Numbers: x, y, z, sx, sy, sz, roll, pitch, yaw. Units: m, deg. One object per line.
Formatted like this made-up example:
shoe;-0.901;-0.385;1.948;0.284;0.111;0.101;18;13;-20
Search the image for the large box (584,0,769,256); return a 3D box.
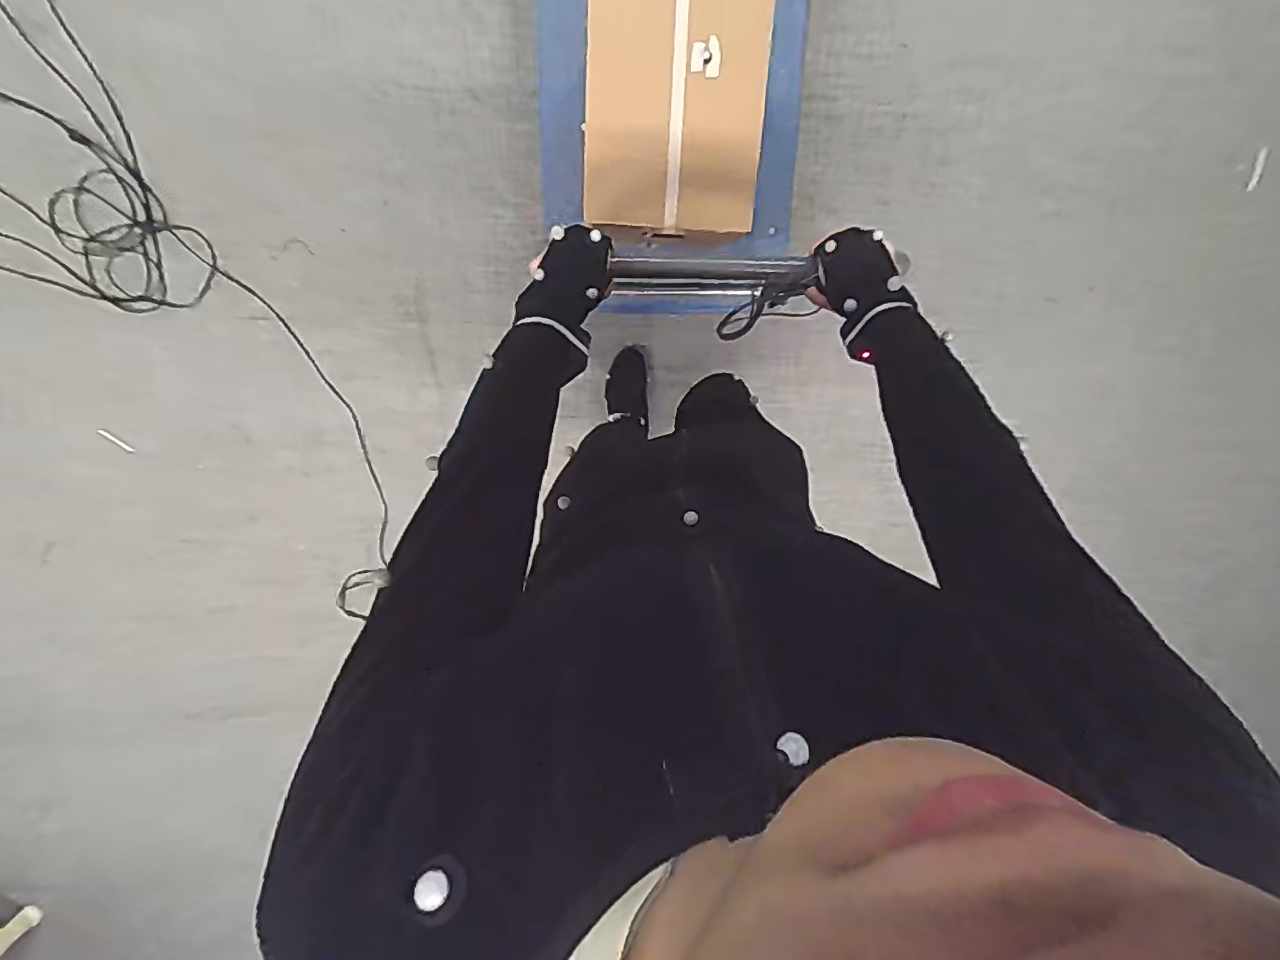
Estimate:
large box;0.054;-0.687;1.092;0.320;0.320;0.408;2;106;-4
